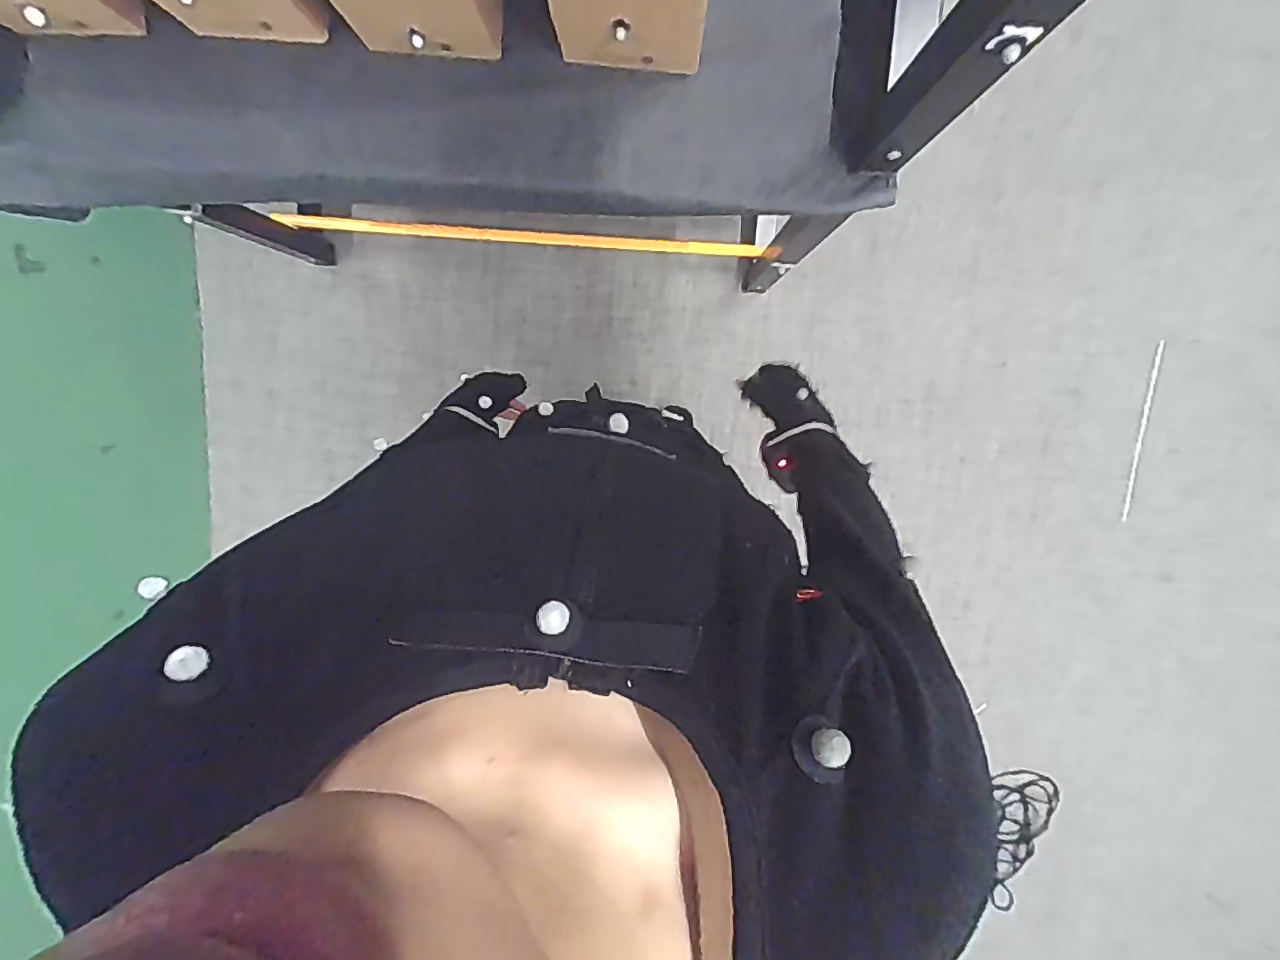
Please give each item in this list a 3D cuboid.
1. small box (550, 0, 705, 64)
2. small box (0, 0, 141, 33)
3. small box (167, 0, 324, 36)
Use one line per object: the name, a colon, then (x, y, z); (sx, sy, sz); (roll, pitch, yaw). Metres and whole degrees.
small box: (-0.006, -0.578, 0.562); (0.168, 0.176, 0.179); (6, 99, 0)
small box: (-0.687, -0.625, 0.571); (0.168, 0.176, 0.179); (2, 100, 1)
small box: (-0.460, -0.616, 0.570); (0.168, 0.176, 0.179); (4, 99, 0)
